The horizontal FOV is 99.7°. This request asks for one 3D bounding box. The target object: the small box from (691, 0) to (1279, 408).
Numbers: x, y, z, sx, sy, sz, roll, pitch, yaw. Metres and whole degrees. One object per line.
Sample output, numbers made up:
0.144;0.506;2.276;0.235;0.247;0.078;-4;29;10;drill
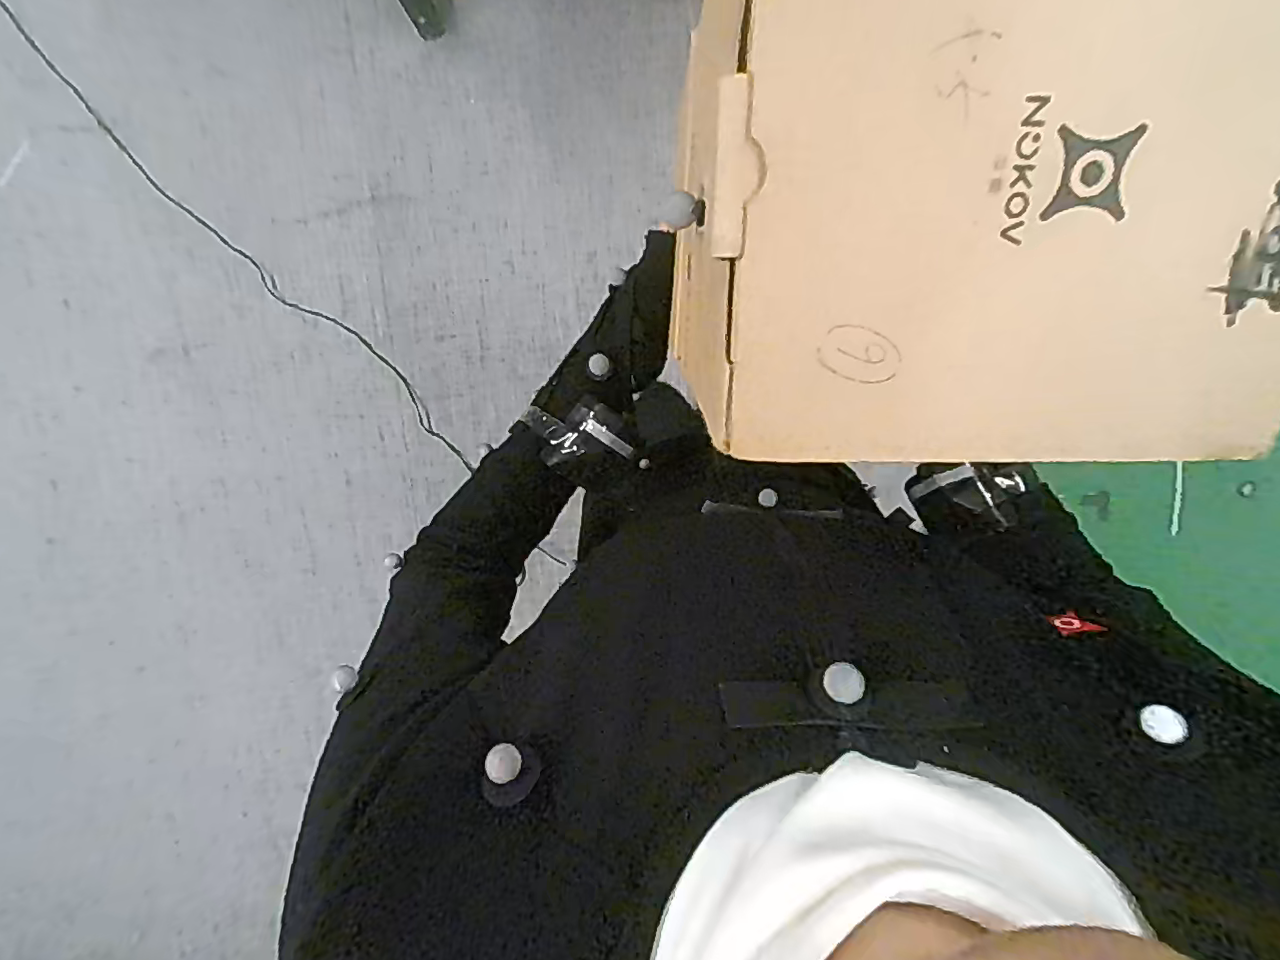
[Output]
0.113;-0.127;0.228;0.179;0.176;0.168;-2;109;1;small box
